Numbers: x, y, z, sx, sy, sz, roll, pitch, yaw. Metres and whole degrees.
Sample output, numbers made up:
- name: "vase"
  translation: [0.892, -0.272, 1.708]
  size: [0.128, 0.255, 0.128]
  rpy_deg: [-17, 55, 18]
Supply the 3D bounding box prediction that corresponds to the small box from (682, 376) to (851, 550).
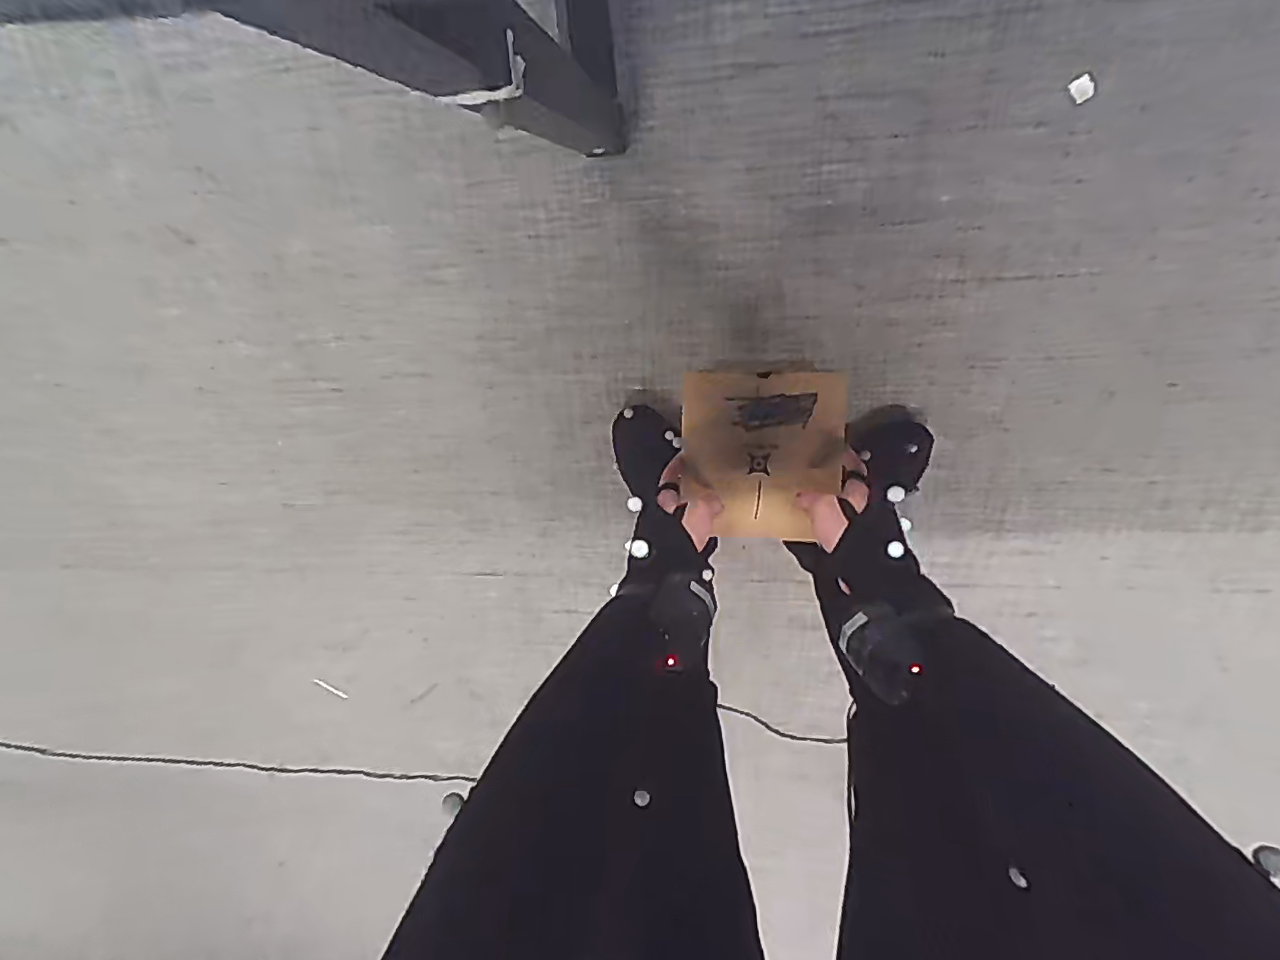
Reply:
- name: "small box"
  translation: [0.139, -0.021, 0.629]
  size: [0.168, 0.176, 0.179]
  rpy_deg: [1, 93, 10]
